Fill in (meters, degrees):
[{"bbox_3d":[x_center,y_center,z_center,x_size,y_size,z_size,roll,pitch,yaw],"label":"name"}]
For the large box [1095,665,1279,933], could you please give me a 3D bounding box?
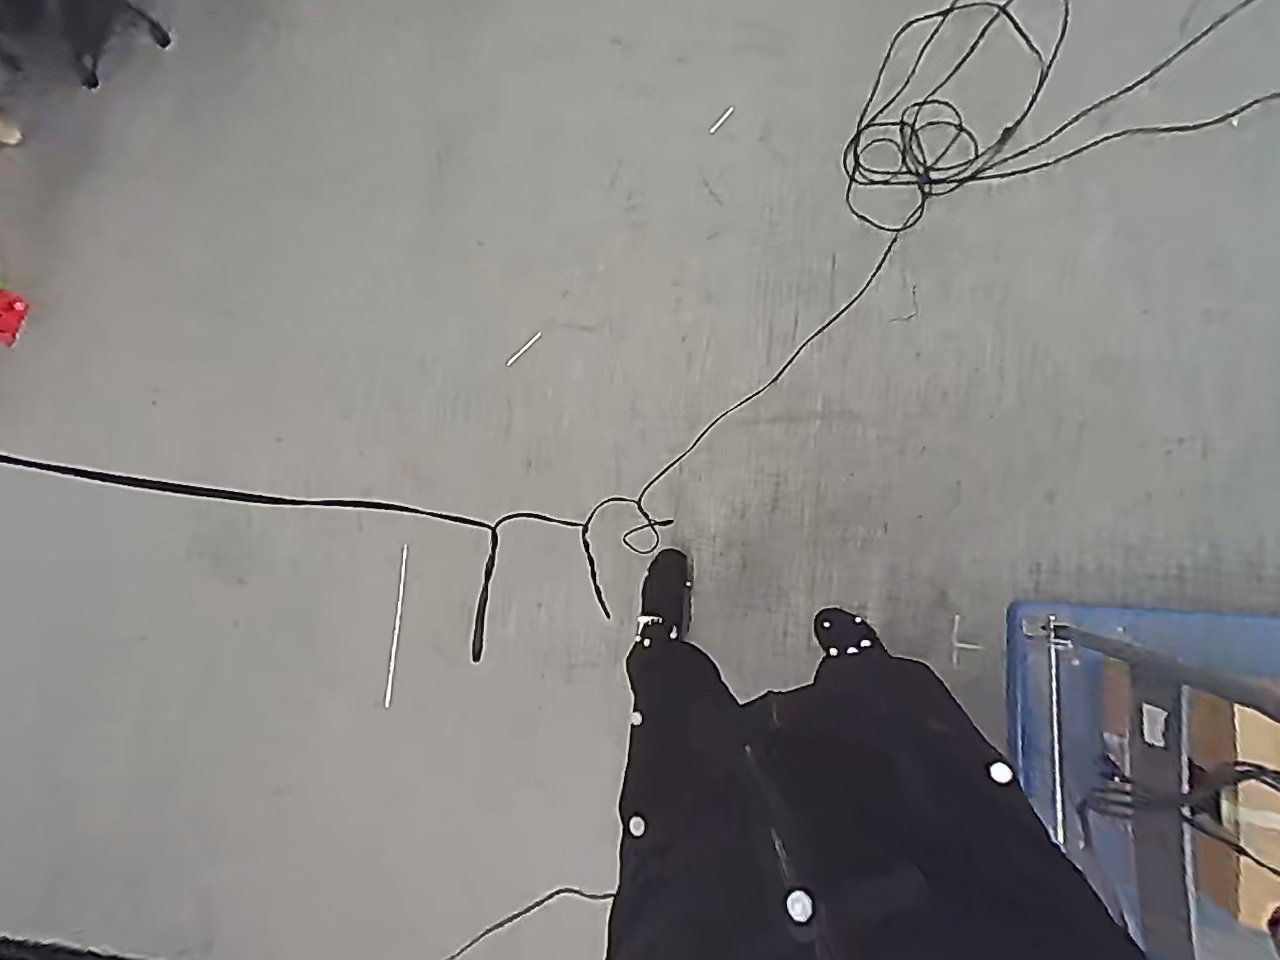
[{"bbox_3d":[1.067,0.507,0.886,0.408,0.320,0.320,3,84,12],"label":"large box"}]
